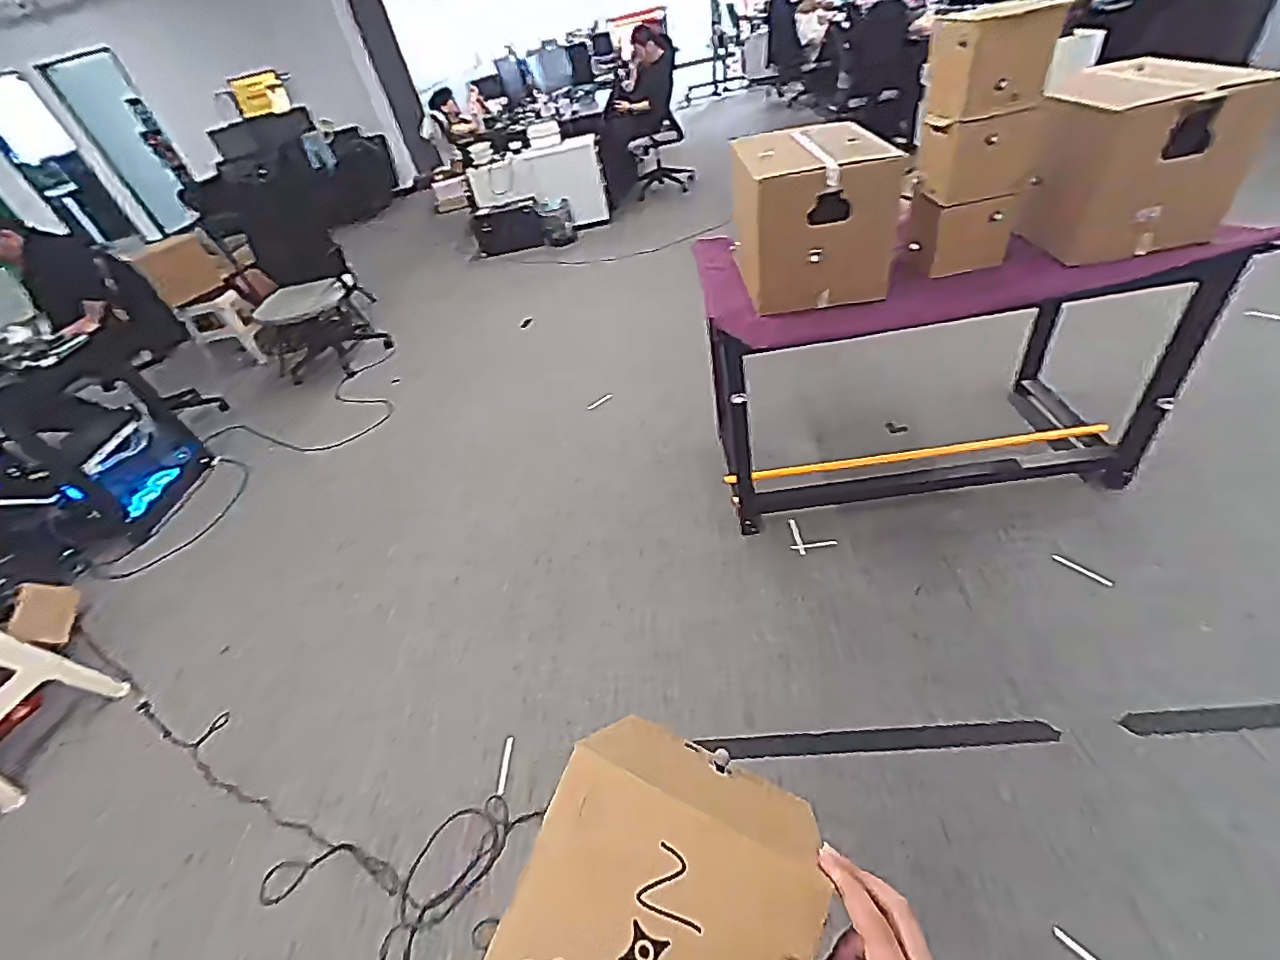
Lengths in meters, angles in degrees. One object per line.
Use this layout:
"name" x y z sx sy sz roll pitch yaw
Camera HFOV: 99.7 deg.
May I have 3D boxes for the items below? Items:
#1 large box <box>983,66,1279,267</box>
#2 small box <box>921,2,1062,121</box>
"large box" 1.095 -0.744 1.278 0.320 0.320 0.408 -8 40 6
"small box" 0.714 -0.867 1.125 0.168 0.176 0.179 -11 41 2
